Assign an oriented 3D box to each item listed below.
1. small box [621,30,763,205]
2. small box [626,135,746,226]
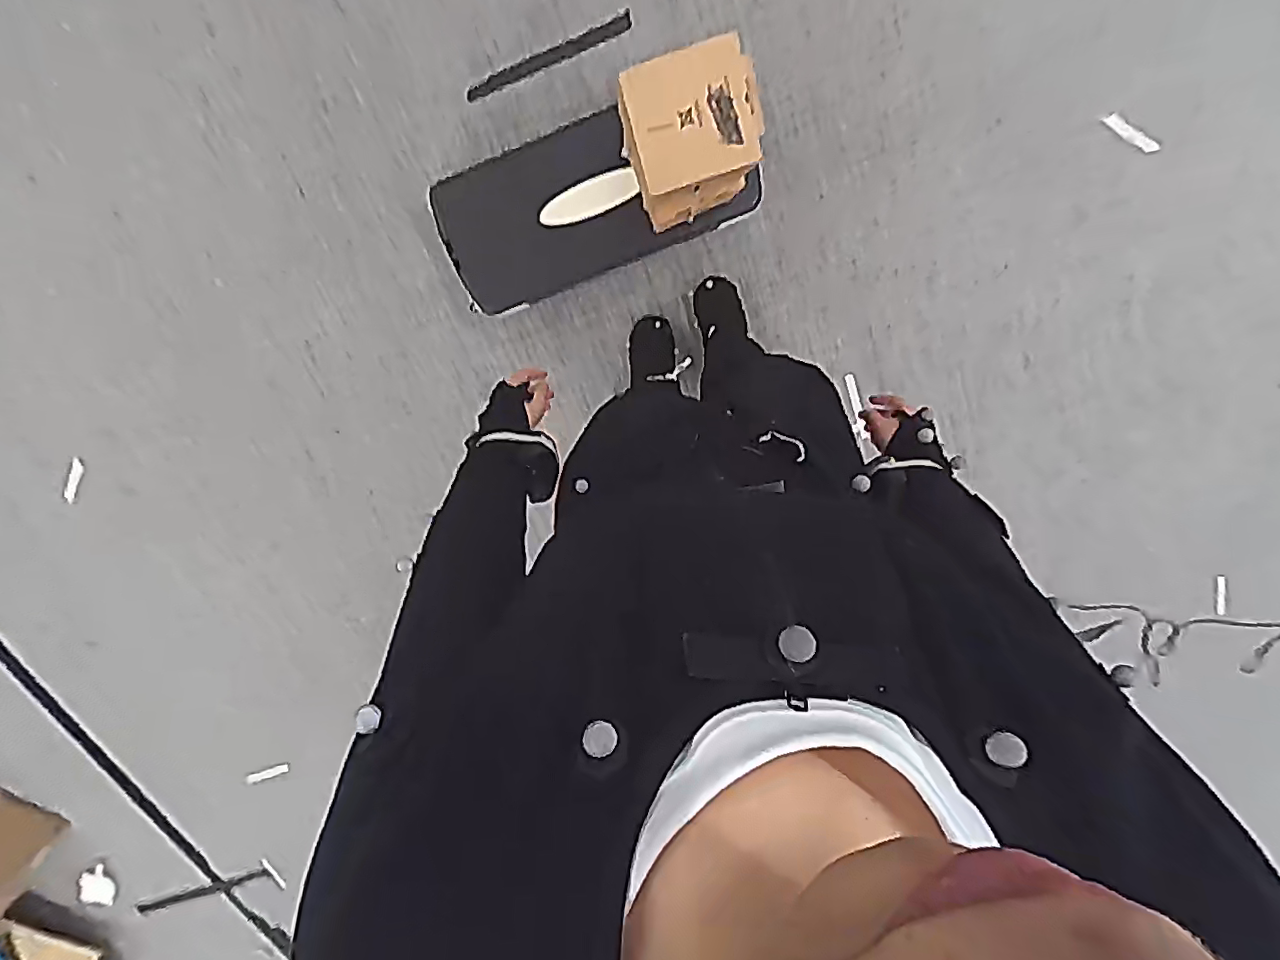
[{"bbox_3d":[0.073,-0.549,0.845,0.179,0.176,0.168,-16,110,5],"label":"small box"},{"bbox_3d":[0.077,-0.595,1.004,0.168,0.176,0.179,-22,110,6],"label":"small box"}]
